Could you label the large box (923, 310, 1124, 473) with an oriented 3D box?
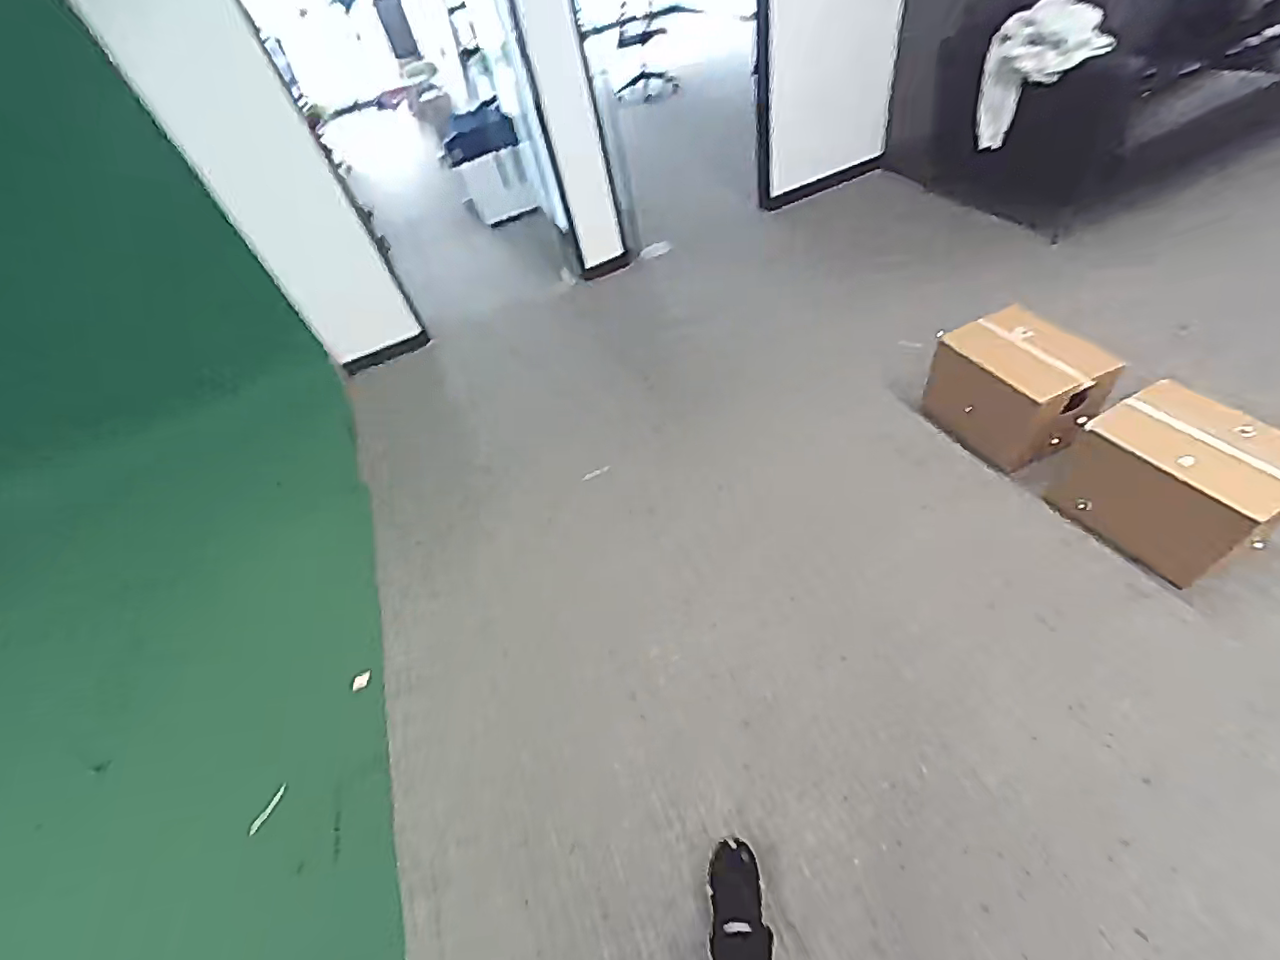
[{"bbox_3d":[1.222,-0.295,1.782,0.320,0.320,0.408,-23,46,-7],"label":"large box"}]
